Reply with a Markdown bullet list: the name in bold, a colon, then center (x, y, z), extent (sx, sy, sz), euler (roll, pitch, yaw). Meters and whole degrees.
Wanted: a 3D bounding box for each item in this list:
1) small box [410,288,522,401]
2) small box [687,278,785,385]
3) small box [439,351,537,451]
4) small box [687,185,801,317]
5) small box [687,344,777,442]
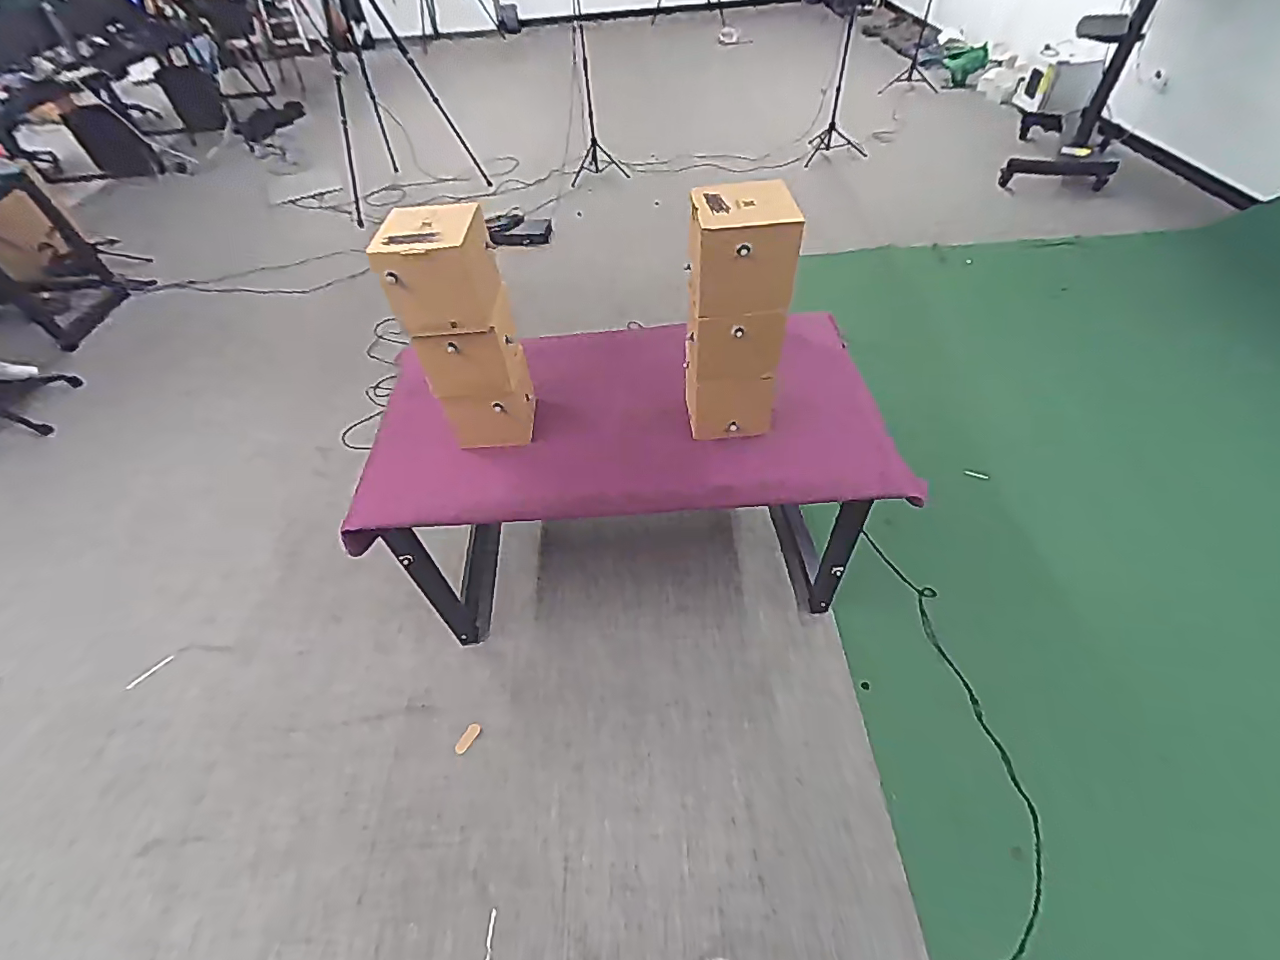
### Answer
- **small box**: center (-0.360, -0.287, 1.160), extent (0.179, 0.176, 0.168), euler (-5, 50, 2)
- **small box**: center (0.193, -0.313, 1.130), extent (0.179, 0.176, 0.168), euler (-4, 50, 2)
- **small box**: center (-0.350, -0.185, 1.285), extent (0.179, 0.176, 0.168), euler (-4, 49, 1)
- **small box**: center (0.184, -0.421, 1.007), extent (0.179, 0.176, 0.168), euler (-5, 50, 1)
- **small box**: center (0.204, -0.206, 1.253), extent (0.179, 0.176, 0.168), euler (-5, 49, 0)
